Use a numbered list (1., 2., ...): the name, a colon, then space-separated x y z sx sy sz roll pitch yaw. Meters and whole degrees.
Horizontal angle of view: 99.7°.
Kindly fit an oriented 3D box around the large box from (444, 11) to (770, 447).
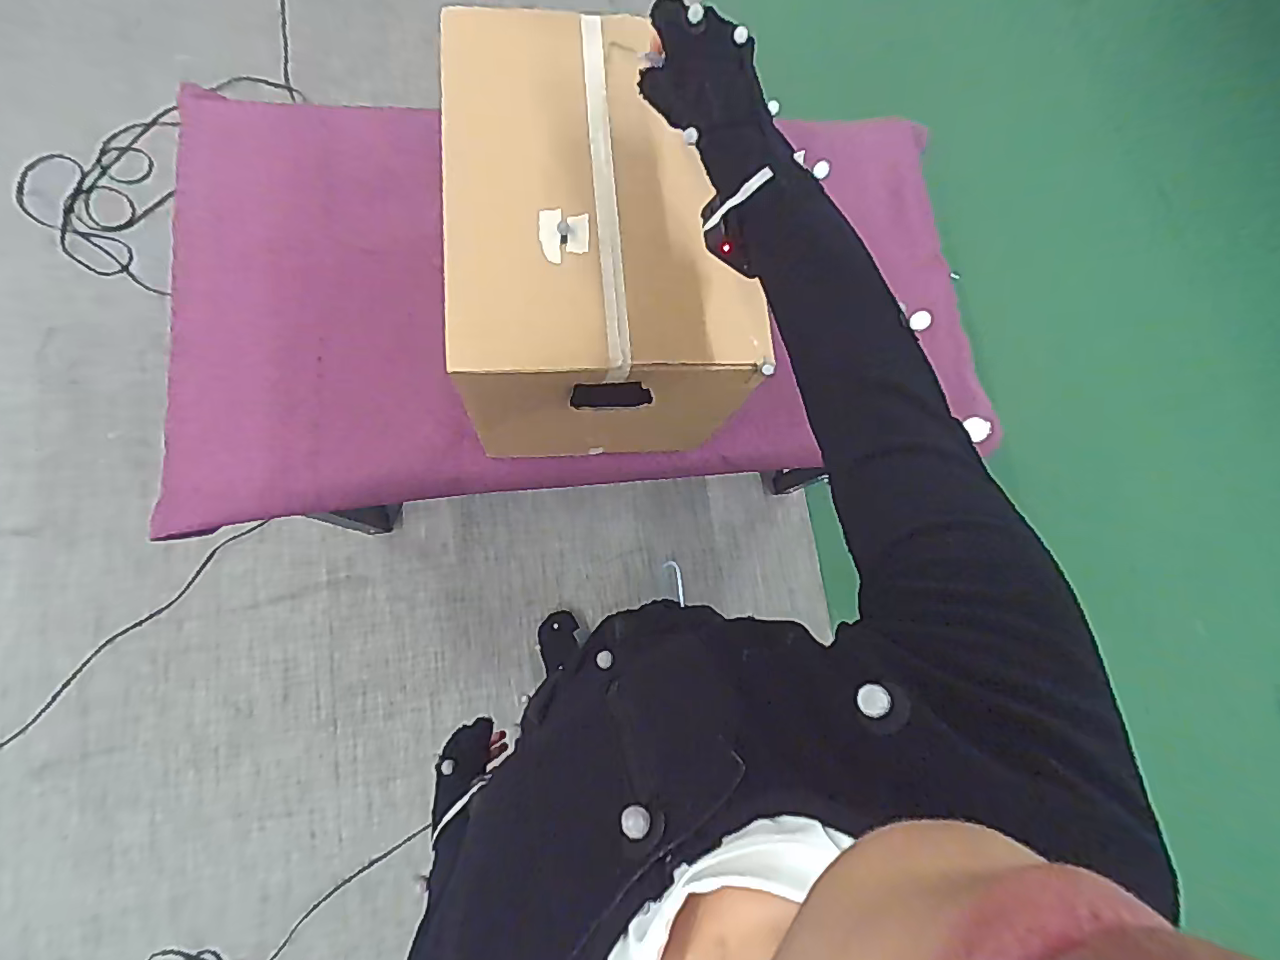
1. large box: -0.061 -0.276 0.701 0.320 0.320 0.408 -3 80 -10
